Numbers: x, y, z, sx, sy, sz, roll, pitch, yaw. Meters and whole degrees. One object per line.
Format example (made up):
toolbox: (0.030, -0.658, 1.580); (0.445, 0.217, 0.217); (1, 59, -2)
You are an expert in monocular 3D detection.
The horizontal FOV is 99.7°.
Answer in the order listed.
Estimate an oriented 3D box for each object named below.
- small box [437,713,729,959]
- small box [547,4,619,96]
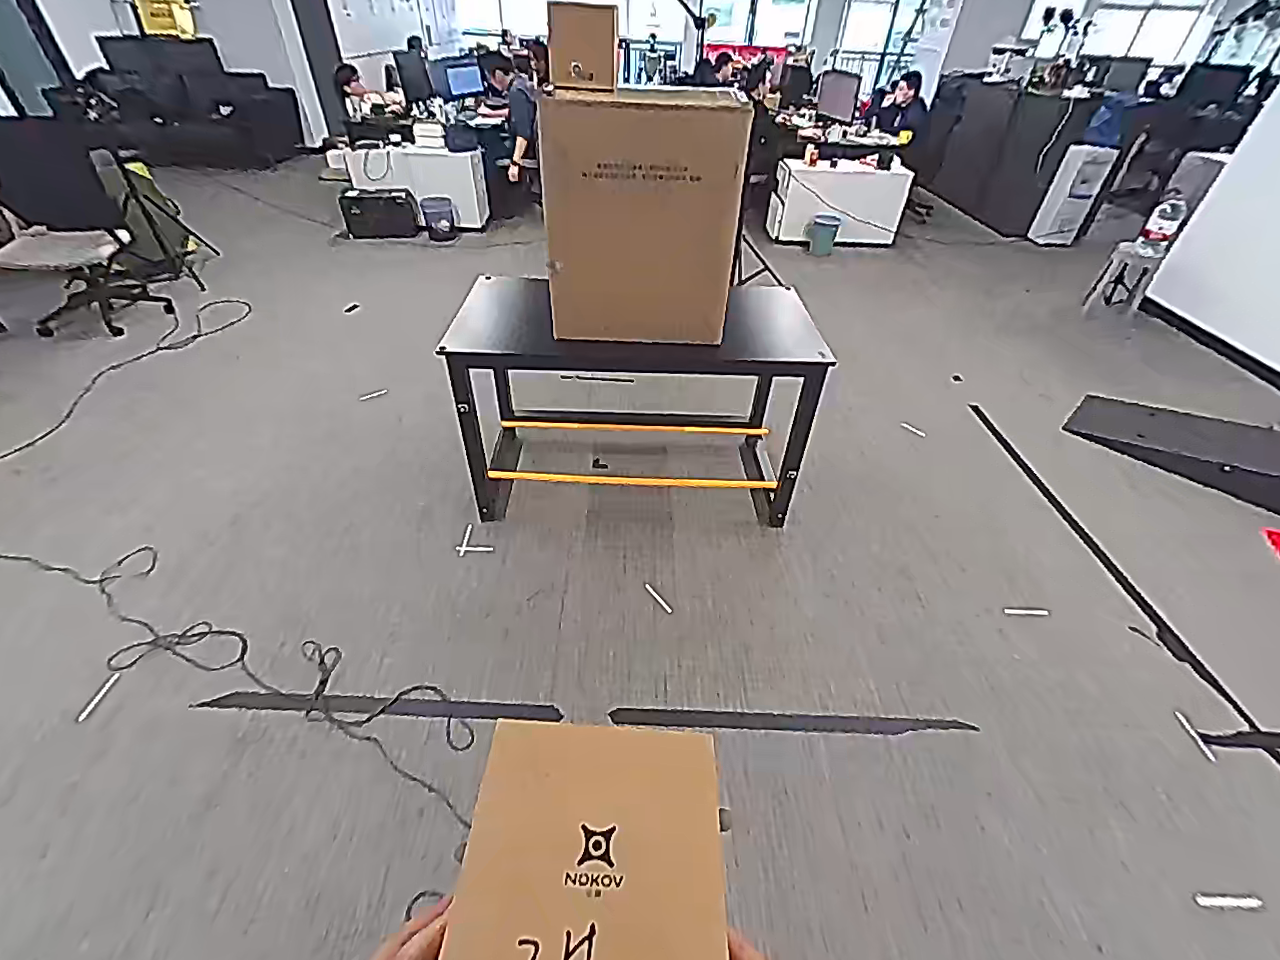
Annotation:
small box: (-0.034, 0.299, 0.392); (0.168, 0.176, 0.179); (4, 40, -1)
small box: (-0.141, -1.098, 1.382); (0.168, 0.176, 0.179); (1, 40, -1)
